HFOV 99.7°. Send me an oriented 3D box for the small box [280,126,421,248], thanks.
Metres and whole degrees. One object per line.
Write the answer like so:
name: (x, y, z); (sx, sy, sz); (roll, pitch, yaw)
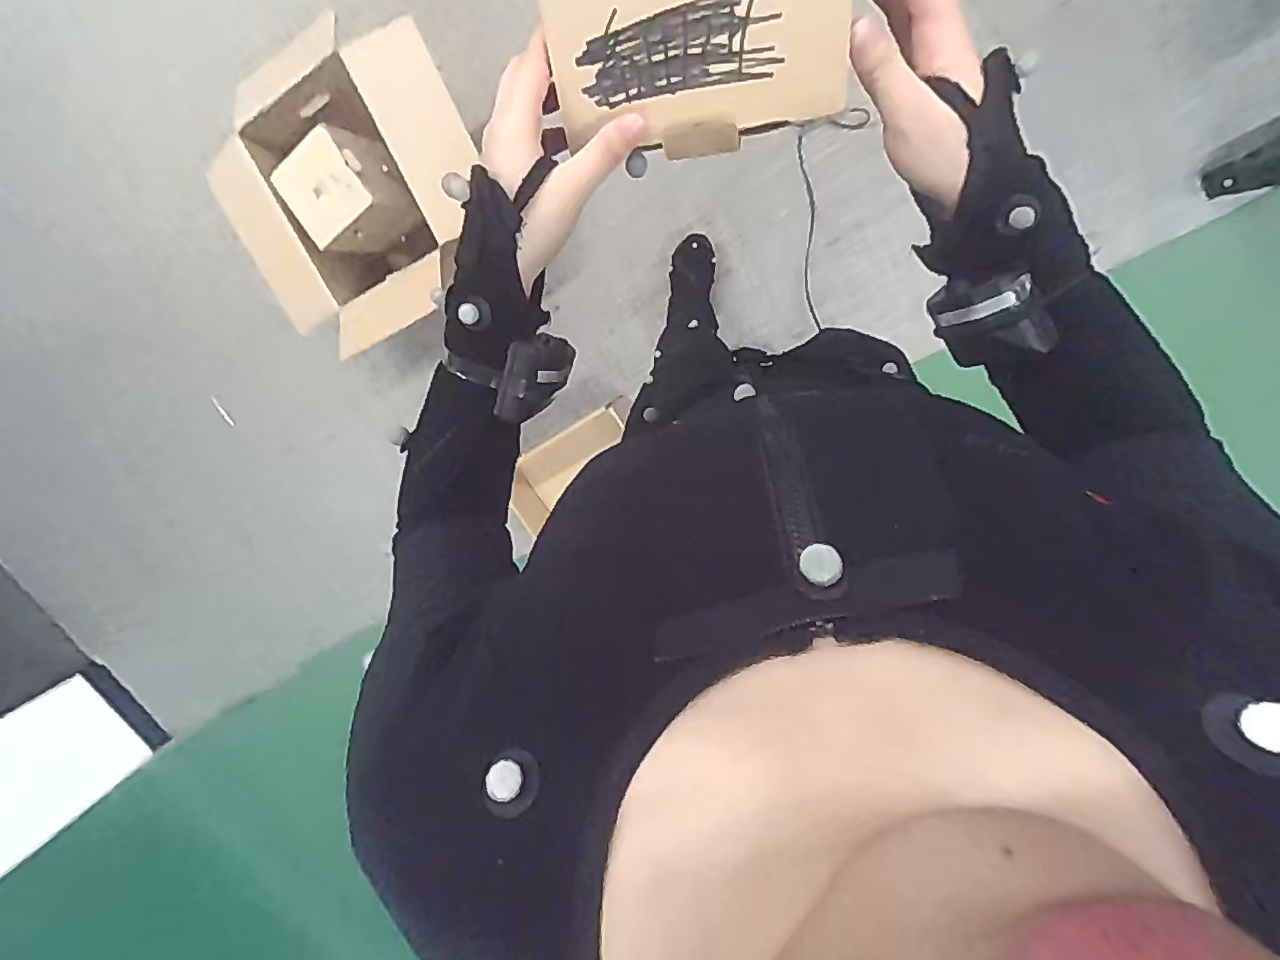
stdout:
small box: (-0.627, -0.630, 1.191); (0.179, 0.176, 0.168); (-28, 104, 20)
